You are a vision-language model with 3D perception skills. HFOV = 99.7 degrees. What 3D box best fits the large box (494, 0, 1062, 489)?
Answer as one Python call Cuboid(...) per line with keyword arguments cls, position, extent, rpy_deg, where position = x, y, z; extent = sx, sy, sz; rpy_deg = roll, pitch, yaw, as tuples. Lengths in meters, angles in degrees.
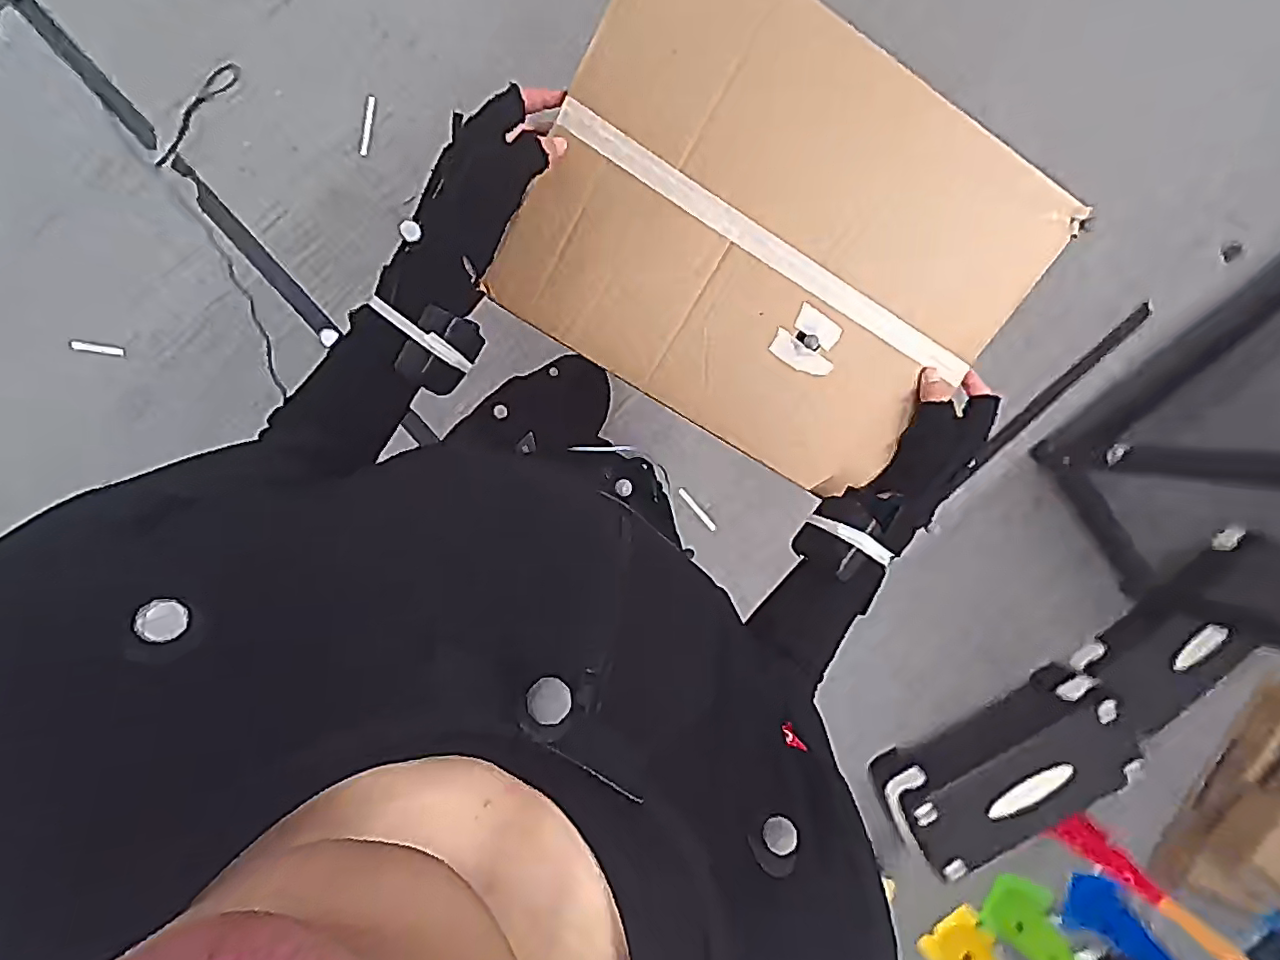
Cuboid(cls="large box", position=(0.112, -0.252, 0.609), extent=(0.408, 0.320, 0.320), rpy_deg=(29, 107, -9))
